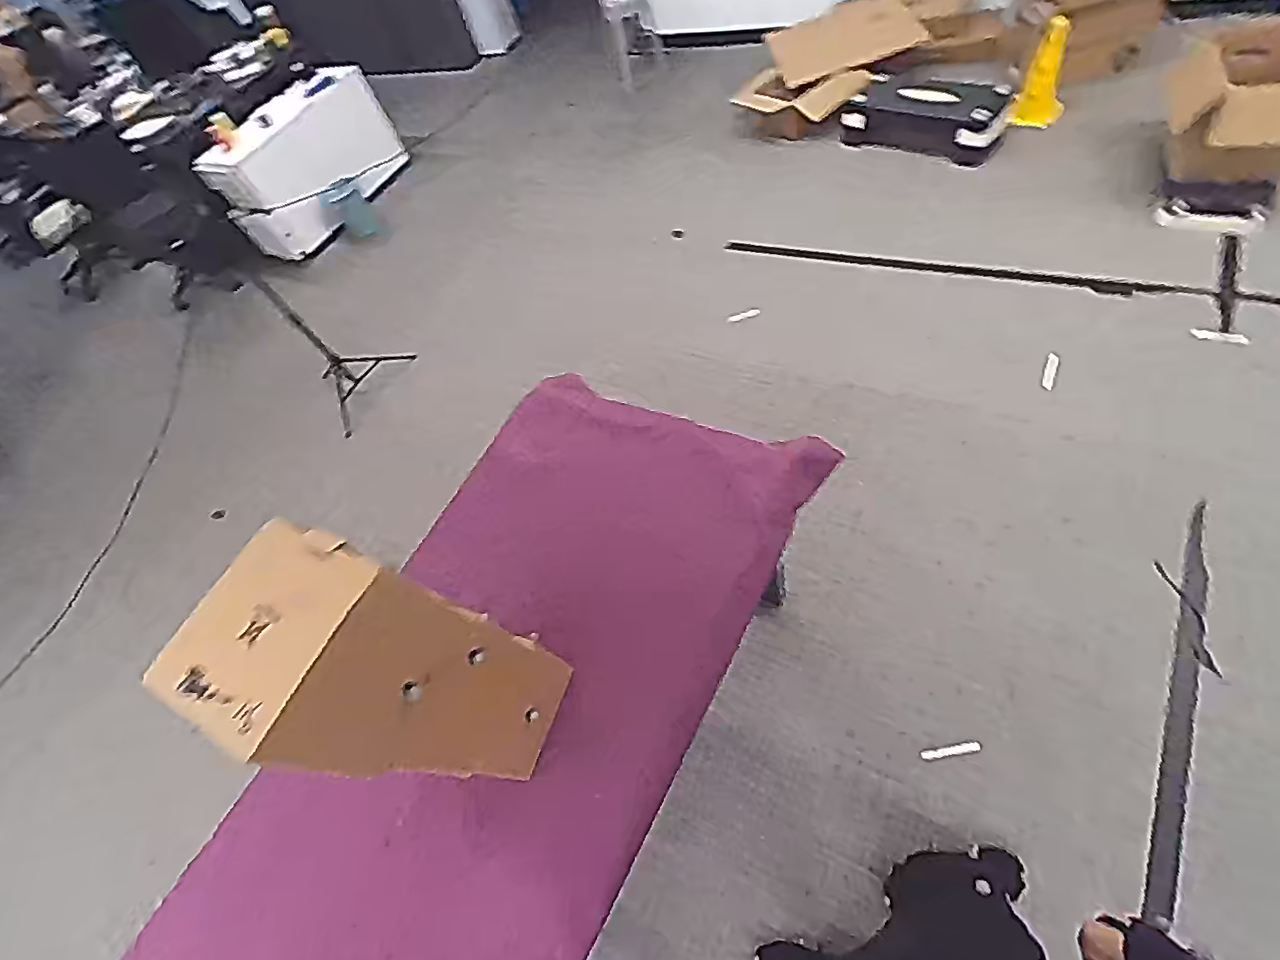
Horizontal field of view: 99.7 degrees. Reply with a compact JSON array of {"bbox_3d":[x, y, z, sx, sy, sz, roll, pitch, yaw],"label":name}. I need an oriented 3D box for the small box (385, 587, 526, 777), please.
[{"bbox_3d":[-0.273,0.252,0.685,0.168,0.176,0.179,16,64,25],"label":"small box"}]

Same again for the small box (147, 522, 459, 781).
[{"bbox_3d":[-0.314,0.175,0.546,0.168,0.176,0.179,15,63,25],"label":"small box"}]
